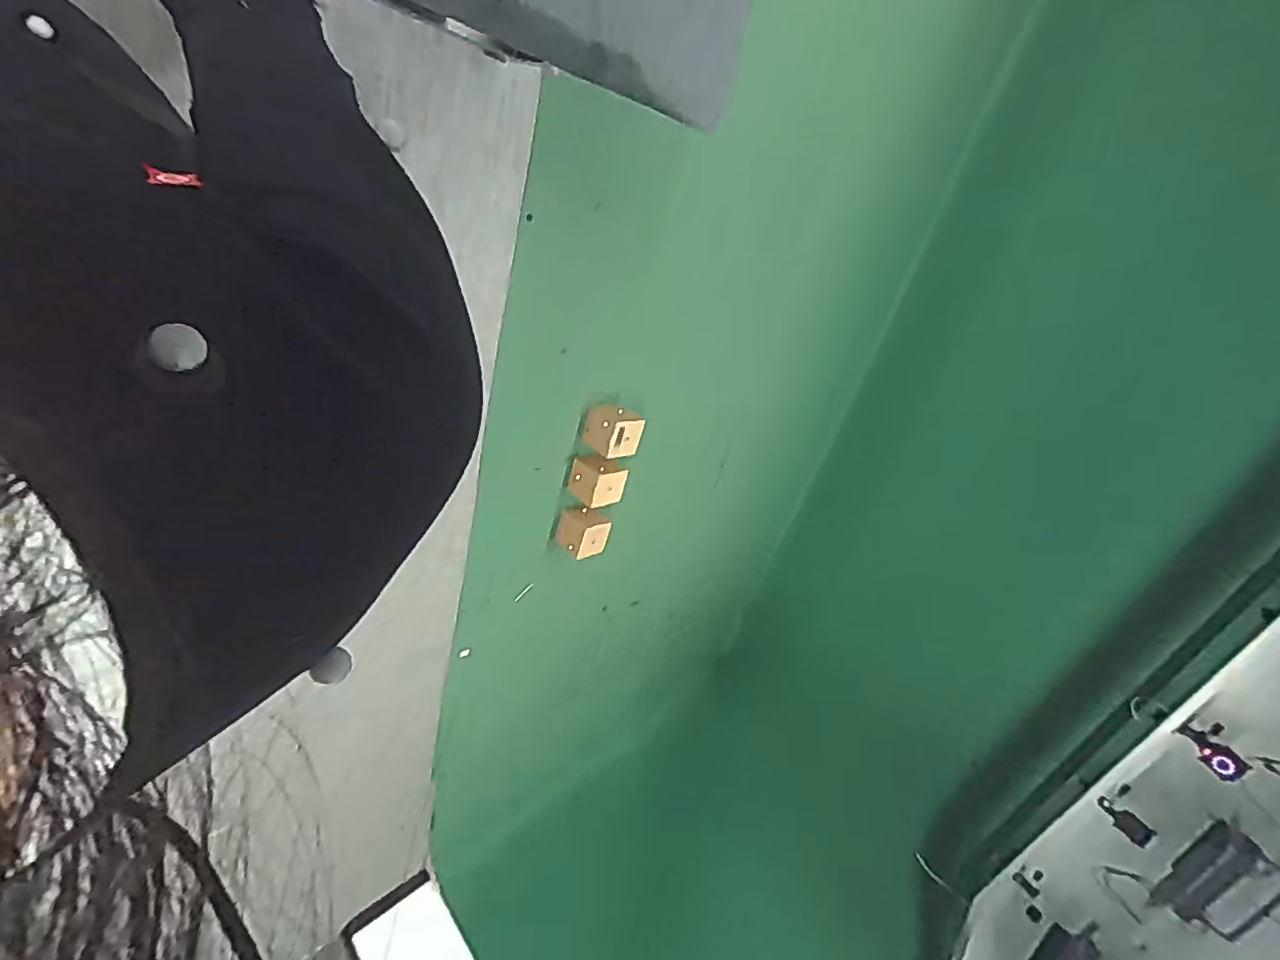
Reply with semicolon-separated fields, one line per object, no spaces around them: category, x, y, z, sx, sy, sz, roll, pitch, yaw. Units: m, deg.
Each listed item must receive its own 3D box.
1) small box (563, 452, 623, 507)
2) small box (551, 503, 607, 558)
small box;-0.208;-0.009;2.374;0.179;0.176;0.168;-13;130;-45
small box;-0.287;0.227;2.492;0.168;0.176;0.179;-11;129;-47
